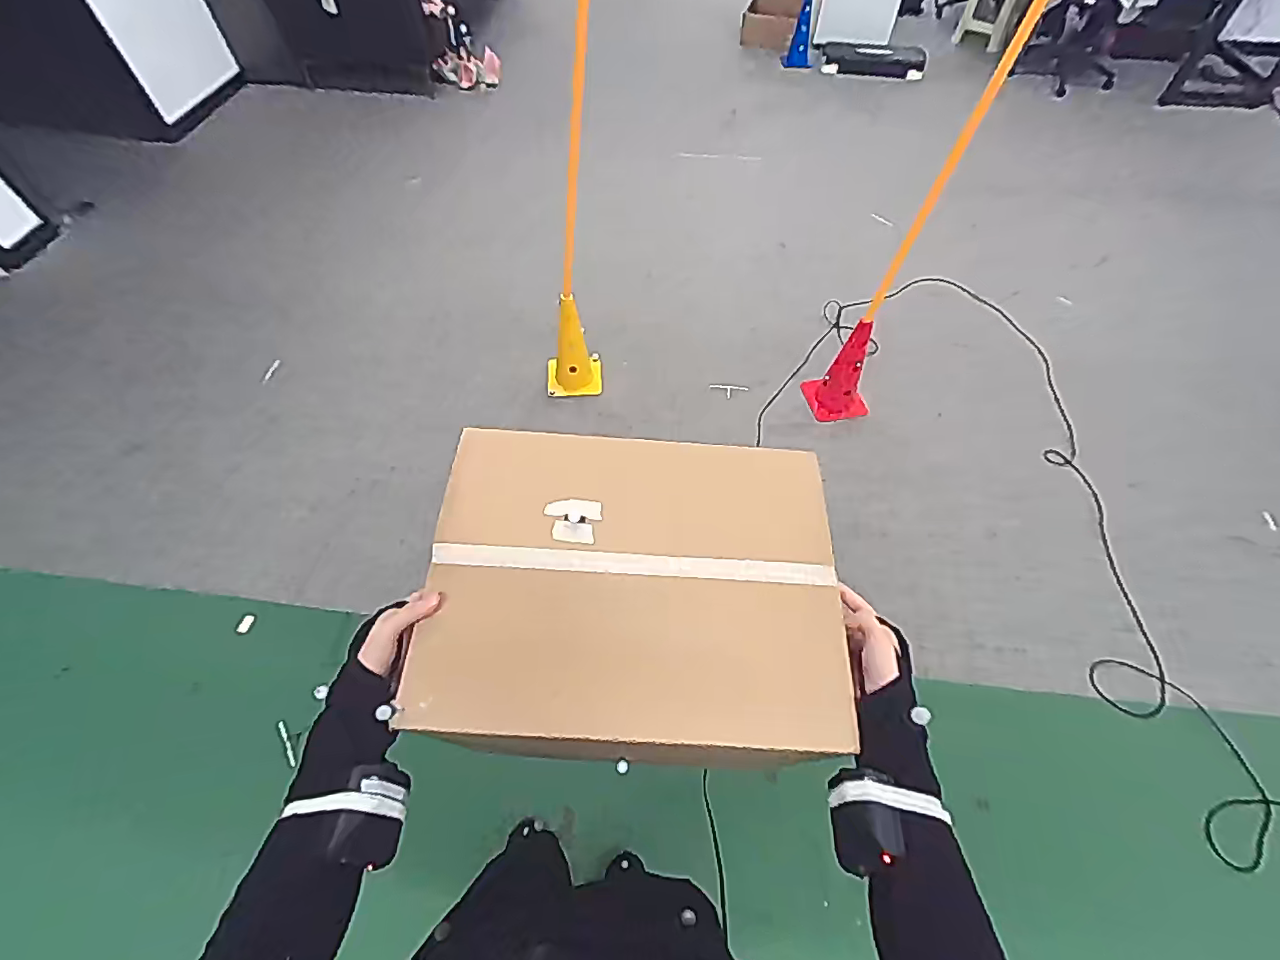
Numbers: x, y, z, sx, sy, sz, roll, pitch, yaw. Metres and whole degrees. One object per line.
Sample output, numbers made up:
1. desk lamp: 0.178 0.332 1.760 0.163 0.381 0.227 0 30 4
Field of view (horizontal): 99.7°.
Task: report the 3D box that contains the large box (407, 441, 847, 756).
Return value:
1. large box: -0.010 0.168 0.685 0.408 0.320 0.320 3 59 -1
